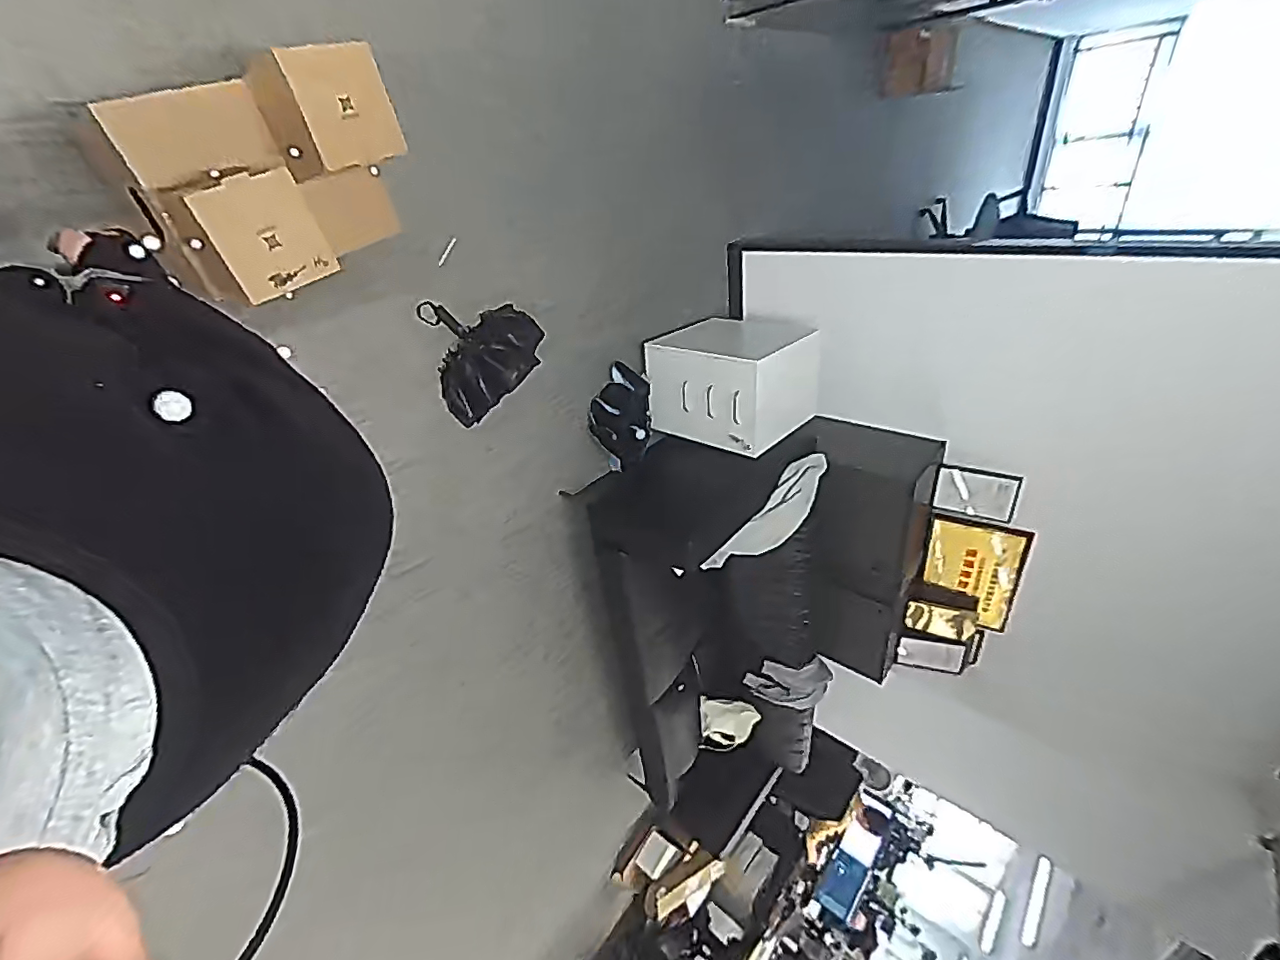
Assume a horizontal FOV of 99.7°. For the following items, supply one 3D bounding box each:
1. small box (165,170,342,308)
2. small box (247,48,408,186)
[{"bbox_3d":[-0.675,-0.419,0.947,0.168,0.176,0.179,-43,136,-32],"label":"small box"},{"bbox_3d":[-0.566,-0.652,0.985,0.168,0.176,0.179,-41,130,-34],"label":"small box"}]
